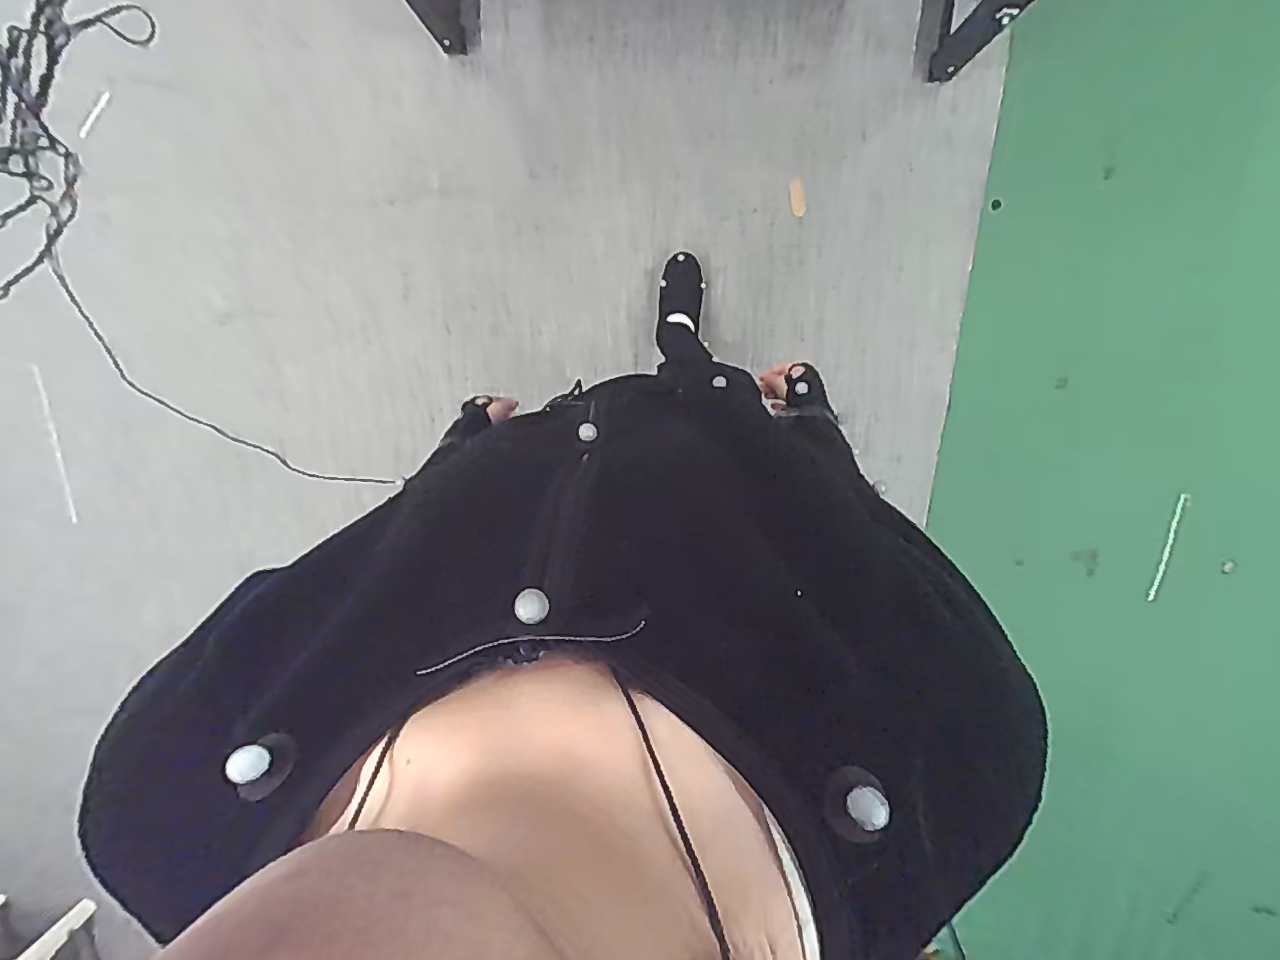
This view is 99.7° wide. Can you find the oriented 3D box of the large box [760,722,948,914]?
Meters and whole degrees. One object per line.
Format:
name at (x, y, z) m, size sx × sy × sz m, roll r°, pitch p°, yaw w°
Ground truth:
large box at (0.591, 0.951, 1.552) m, size 0.408 × 0.320 × 0.320 m, roll -11°, pitch 104°, yaw 4°
